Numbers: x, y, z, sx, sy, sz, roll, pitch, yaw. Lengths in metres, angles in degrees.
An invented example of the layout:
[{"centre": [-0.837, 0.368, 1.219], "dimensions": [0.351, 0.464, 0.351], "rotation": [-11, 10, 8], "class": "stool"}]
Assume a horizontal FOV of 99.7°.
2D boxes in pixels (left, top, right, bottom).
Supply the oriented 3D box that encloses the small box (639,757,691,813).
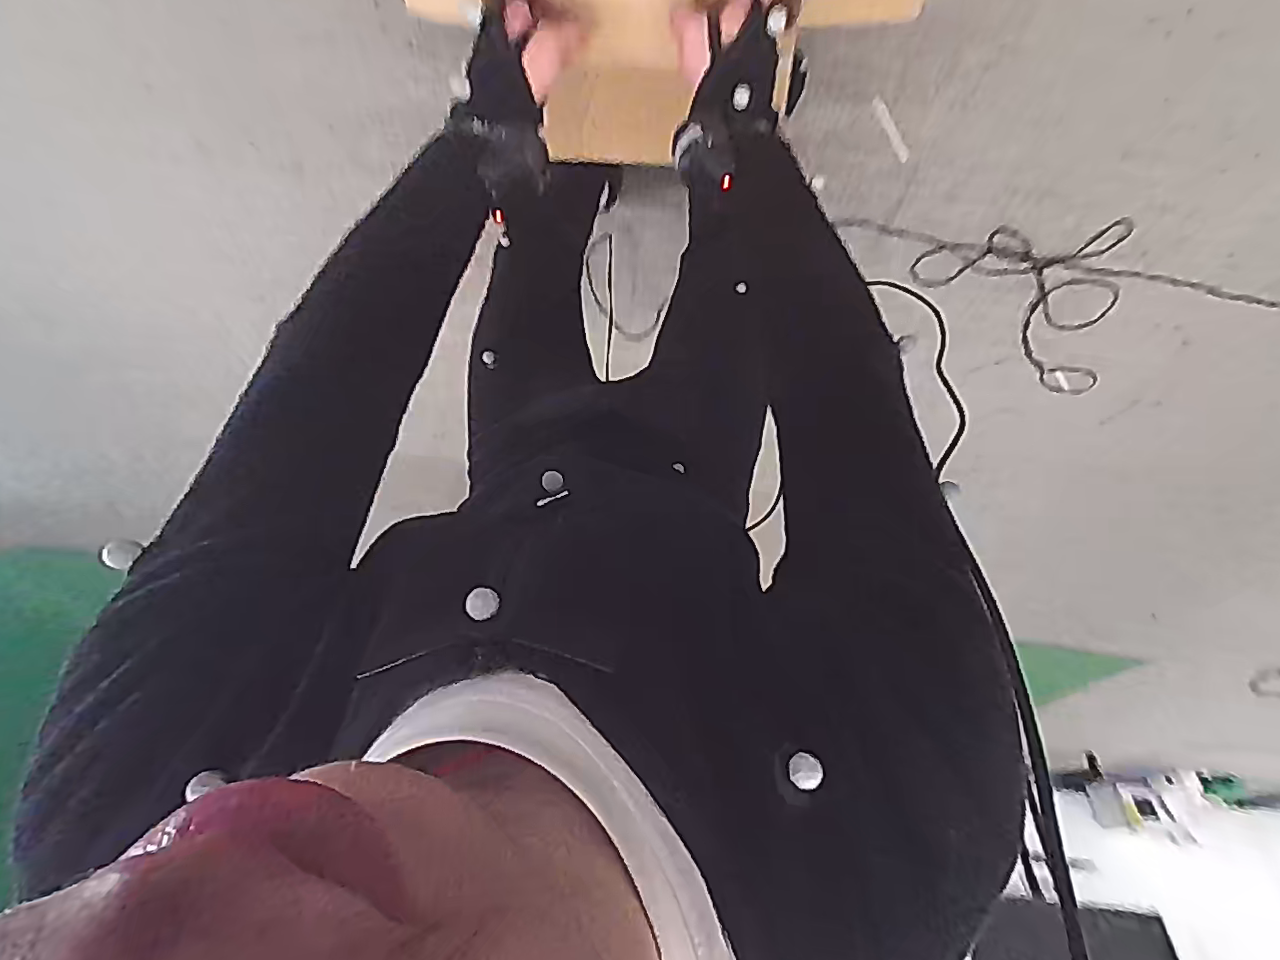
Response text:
[{"centre": [0.099, 1.200, 2.131], "dimensions": [0.179, 0.176, 0.168], "rotation": [8, 144, -3], "class": "small box"}]
